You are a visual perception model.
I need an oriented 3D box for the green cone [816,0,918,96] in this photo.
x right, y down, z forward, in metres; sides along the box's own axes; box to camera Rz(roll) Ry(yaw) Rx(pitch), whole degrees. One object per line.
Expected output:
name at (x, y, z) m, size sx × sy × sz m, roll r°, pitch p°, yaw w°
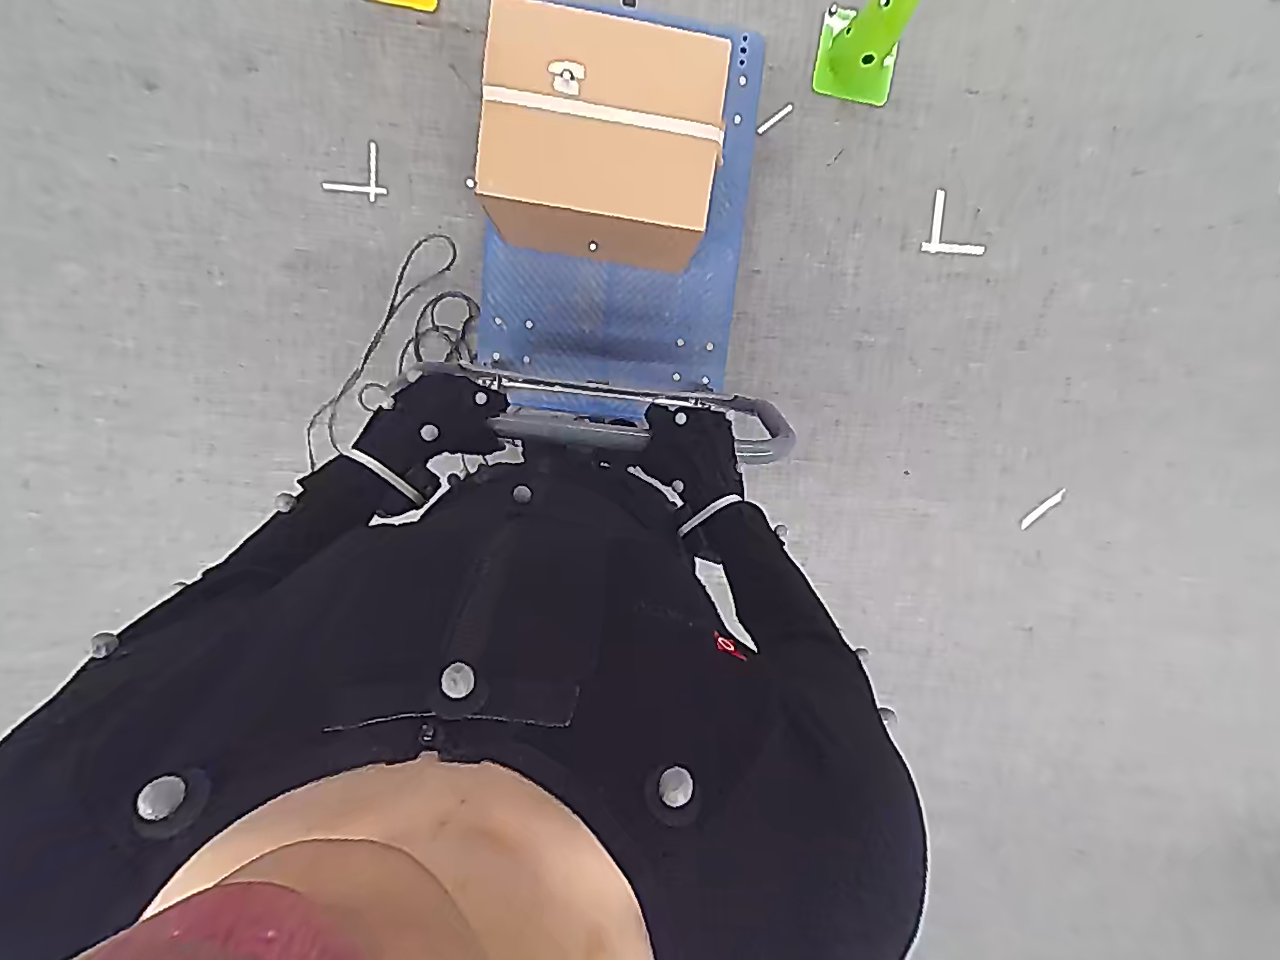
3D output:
green cone at (0.564, -1.062, 1.188) m, size 0.202 × 0.368 × 0.200 m, roll 8°, pitch 98°, yaw -6°

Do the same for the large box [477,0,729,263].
large box at (-0.070, -0.642, 1.061) m, size 0.408 × 0.320 × 0.320 m, roll 8°, pitch 98°, yaw -4°
